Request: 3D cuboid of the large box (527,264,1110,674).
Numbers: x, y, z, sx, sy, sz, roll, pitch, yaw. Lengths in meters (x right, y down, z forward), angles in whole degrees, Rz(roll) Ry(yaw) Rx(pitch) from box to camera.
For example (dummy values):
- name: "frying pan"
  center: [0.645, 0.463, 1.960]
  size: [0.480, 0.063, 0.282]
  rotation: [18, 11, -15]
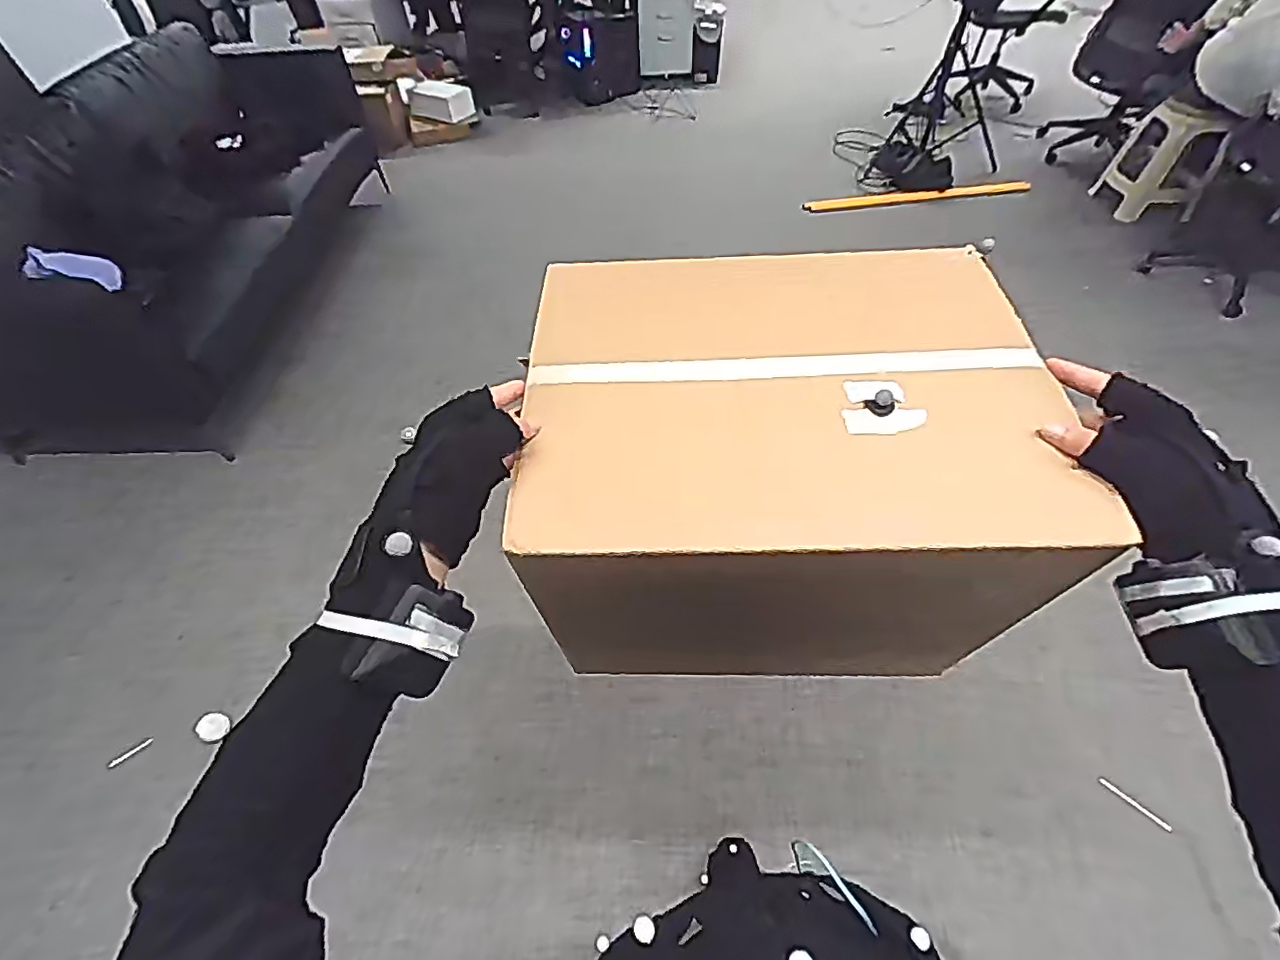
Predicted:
- name: "large box"
  center: [0.121, 0.004, 0.570]
  size: [0.408, 0.320, 0.320]
  rotation: [-1, 56, 2]
